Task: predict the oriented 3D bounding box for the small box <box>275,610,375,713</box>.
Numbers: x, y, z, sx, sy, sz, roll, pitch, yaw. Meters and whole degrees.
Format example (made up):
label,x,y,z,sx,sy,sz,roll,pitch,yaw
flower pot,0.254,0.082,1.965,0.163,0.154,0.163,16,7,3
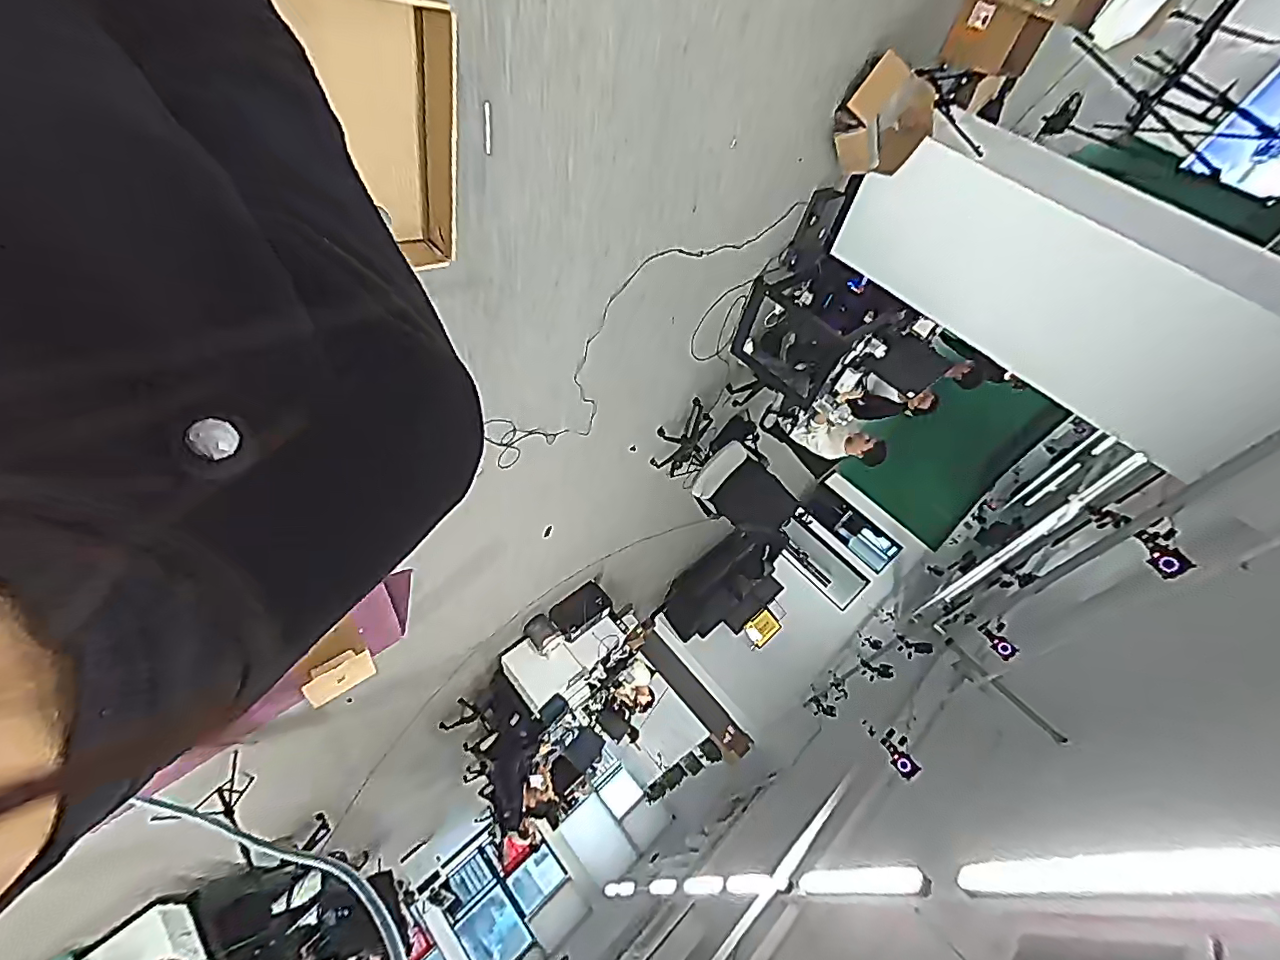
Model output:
label,x,y,z,sx,sy,sz,roll,pitch,yaw
small box,-0.831,0.472,1.430,0.168,0.176,0.179,-29,154,-35
